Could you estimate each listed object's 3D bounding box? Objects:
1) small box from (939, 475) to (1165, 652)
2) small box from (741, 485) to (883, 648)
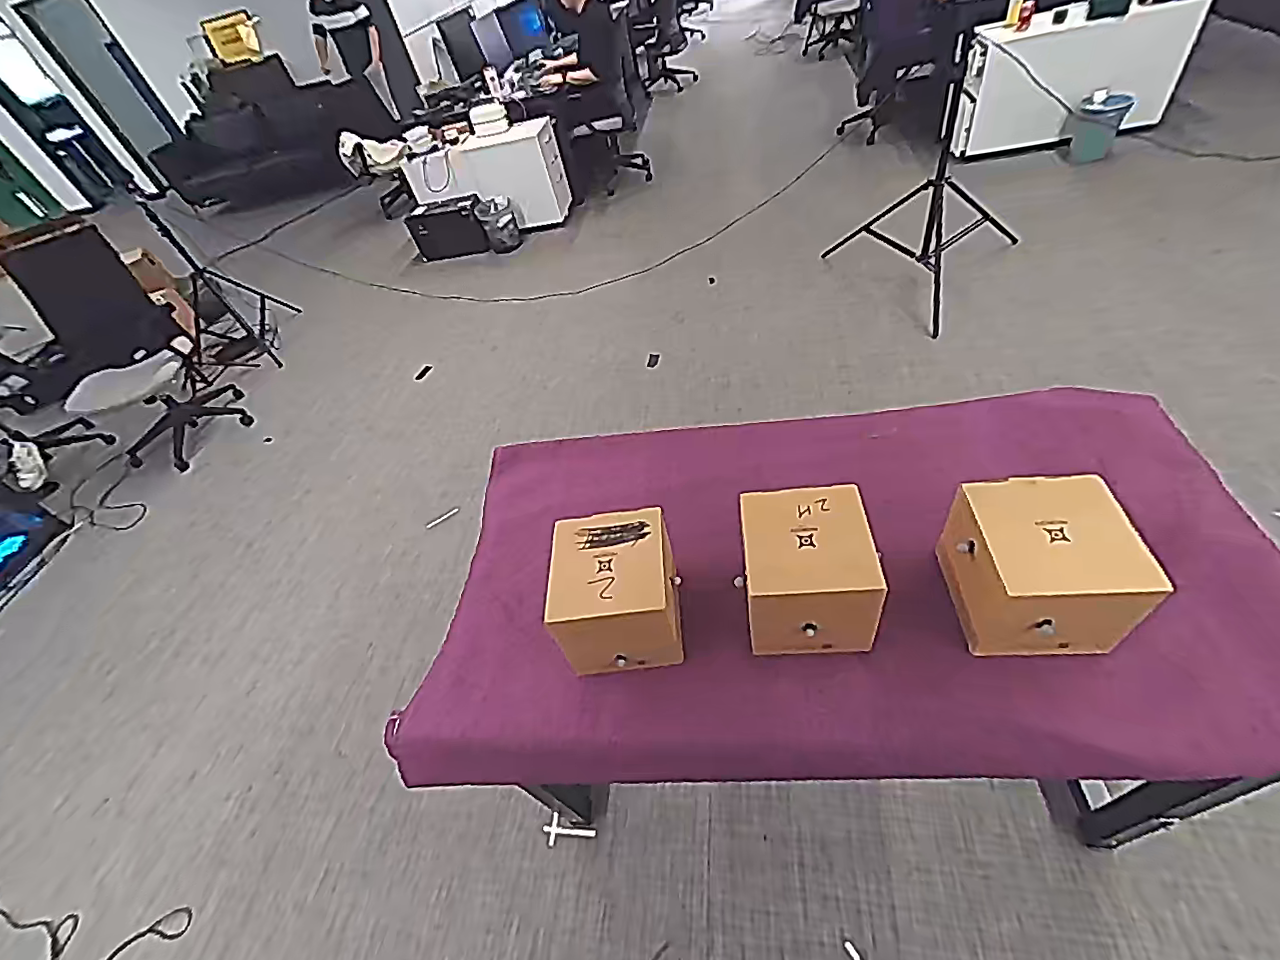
[{"bbox_3d":[0.522,0.118,0.721,0.168,0.176,0.179,-5,47,11],"label":"small box"},{"bbox_3d":[0.238,0.131,0.783,0.168,0.176,0.179,-4,46,10],"label":"small box"}]
